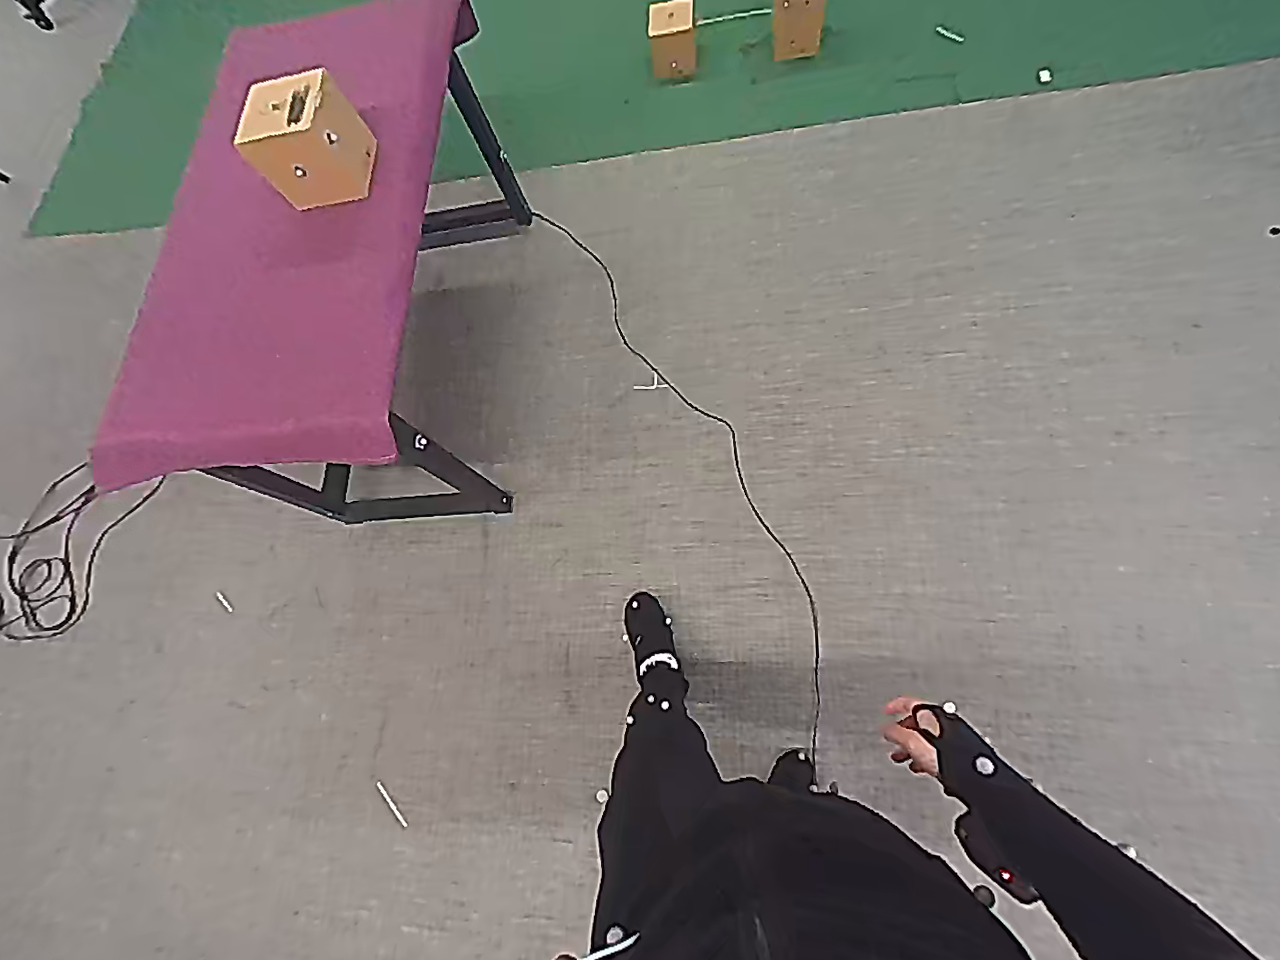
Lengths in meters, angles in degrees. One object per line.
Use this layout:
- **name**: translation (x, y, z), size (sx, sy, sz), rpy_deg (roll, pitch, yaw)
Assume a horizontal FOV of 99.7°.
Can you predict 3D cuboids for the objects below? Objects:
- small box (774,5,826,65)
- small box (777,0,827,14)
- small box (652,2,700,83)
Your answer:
- **small box**: translation (0.591, -1.700, 2.014), size (0.168, 0.176, 0.179), rpy_deg (0, 72, 10)
- **small box**: translation (0.563, -1.750, 1.861), size (0.168, 0.176, 0.179), rpy_deg (0, 71, 10)
- **small box**: translation (0.141, -1.690, 2.095), size (0.168, 0.176, 0.179), rpy_deg (-1, 71, 11)
